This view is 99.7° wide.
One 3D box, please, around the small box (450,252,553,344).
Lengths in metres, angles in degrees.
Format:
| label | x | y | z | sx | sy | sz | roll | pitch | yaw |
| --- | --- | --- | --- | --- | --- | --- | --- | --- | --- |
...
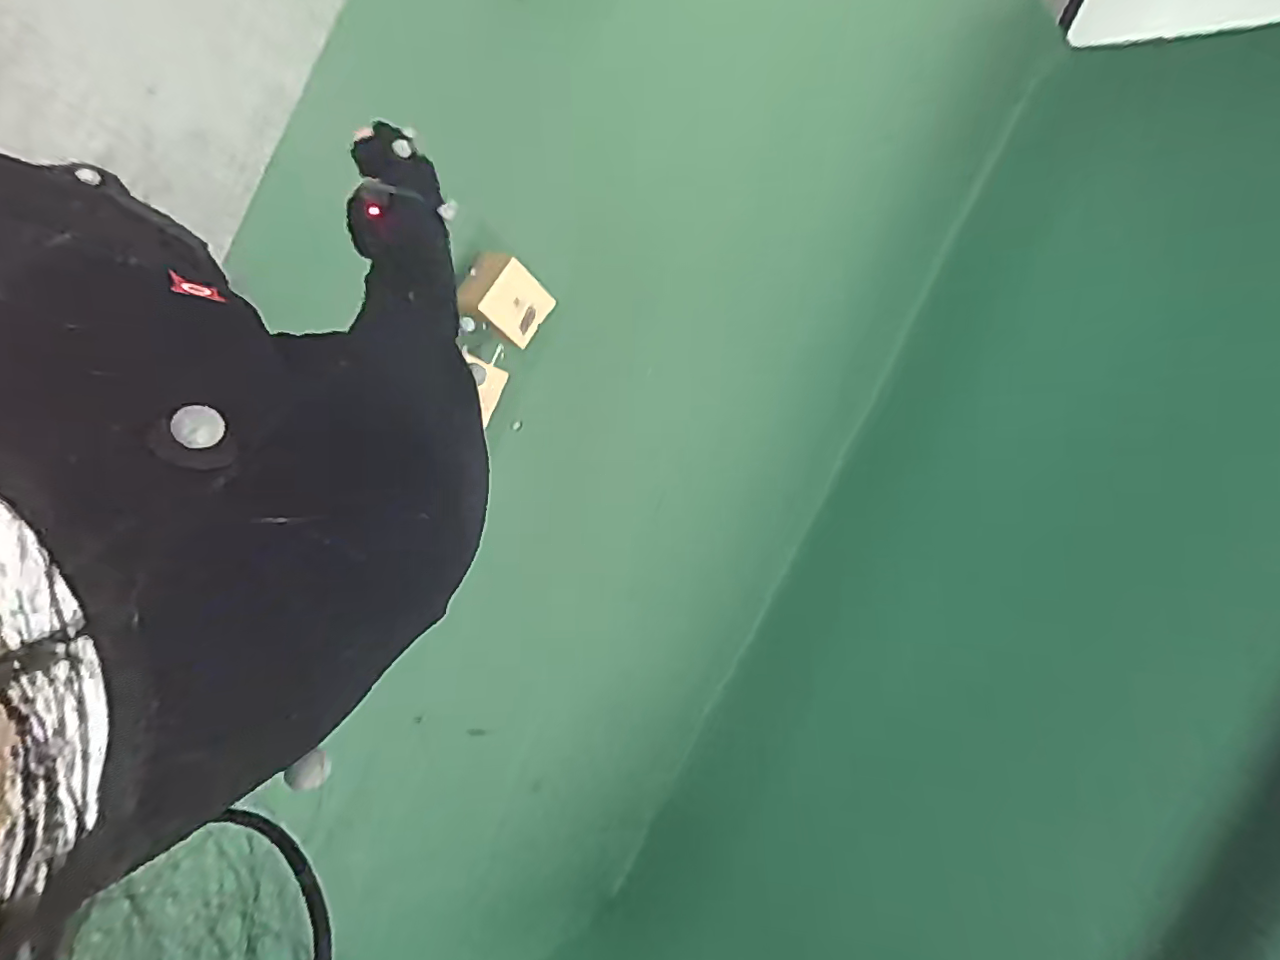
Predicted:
| label | x | y | z | sx | sy | sz | roll | pitch | yaw |
| --- | --- | --- | --- | --- | --- | --- | --- | --- | --- |
| small box | -0.380 | -0.504 | 1.482 | 0.168 | 0.176 | 0.179 | -57 | 138 | -7 |

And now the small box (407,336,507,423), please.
| label | x | y | z | sx | sy | sz | roll | pitch | yaw |
| --- | --- | --- | --- | --- | --- | --- | --- | --- | --- |
| small box | -0.504 | -0.278 | 1.477 | 0.179 | 0.176 | 0.168 | 21 | 96 | -49 |
